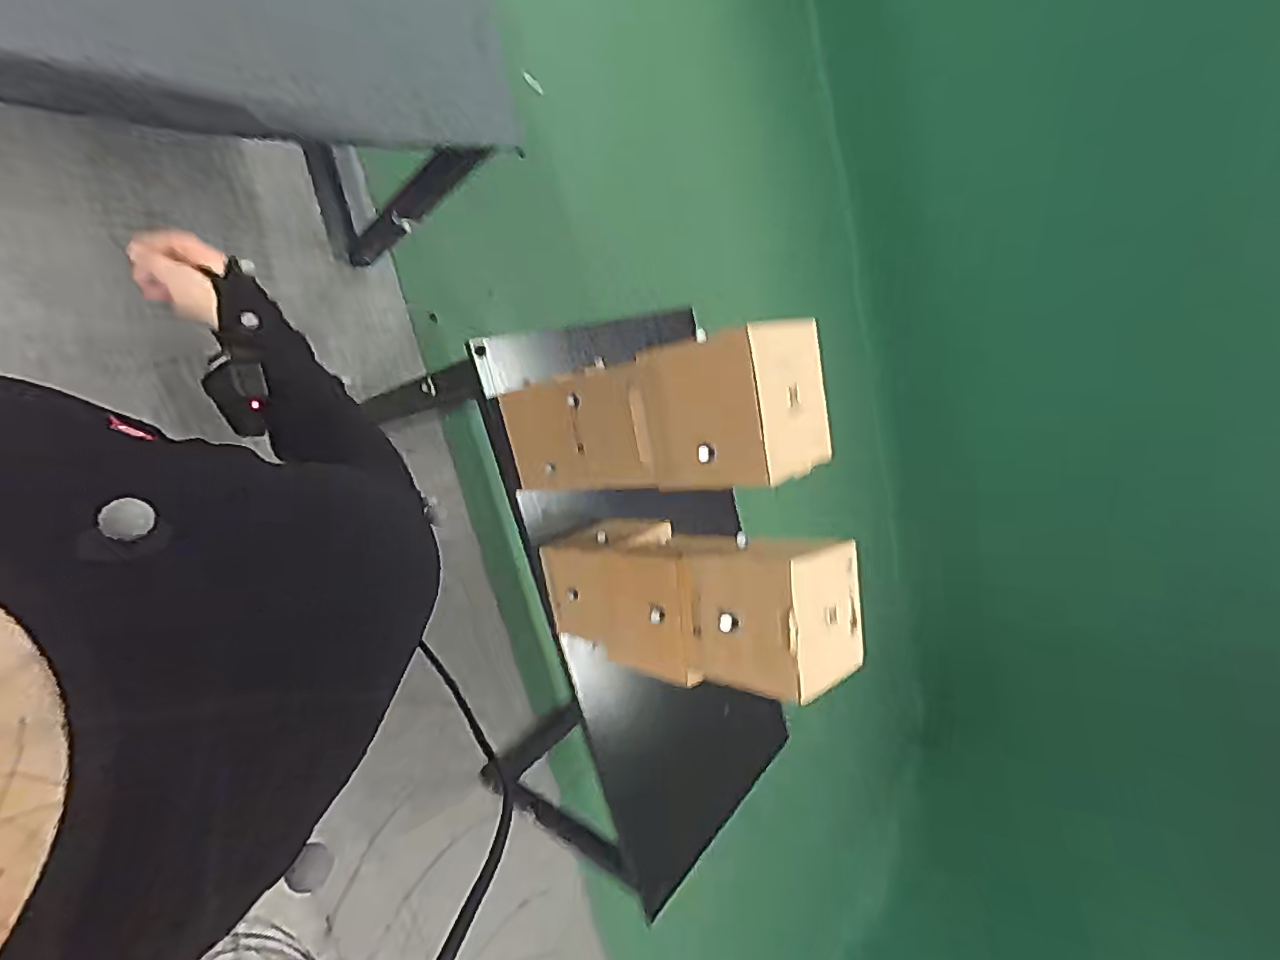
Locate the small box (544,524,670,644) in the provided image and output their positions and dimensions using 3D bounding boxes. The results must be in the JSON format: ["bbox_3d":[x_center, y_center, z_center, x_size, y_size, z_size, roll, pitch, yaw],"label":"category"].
[{"bbox_3d":[-0.054,0.180,0.965,0.179,0.176,0.168,-18,102,-44],"label":"small box"}]

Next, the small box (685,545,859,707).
[{"bbox_3d":[0.173,0.181,0.731,0.179,0.176,0.168,-3,90,-44],"label":"small box"}]

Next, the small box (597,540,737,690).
[{"bbox_3d":[0.049,0.195,0.838,0.168,0.176,0.179,-7,93,-44],"label":"small box"}]

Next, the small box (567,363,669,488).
[{"bbox_3d":[0.009,-0.085,0.805,0.179,0.176,0.168,-20,104,-44],"label":"small box"}]

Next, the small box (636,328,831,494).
[{"bbox_3d":[0.118,-0.086,0.684,0.168,0.176,0.179,-19,102,-45],"label":"small box"}]
